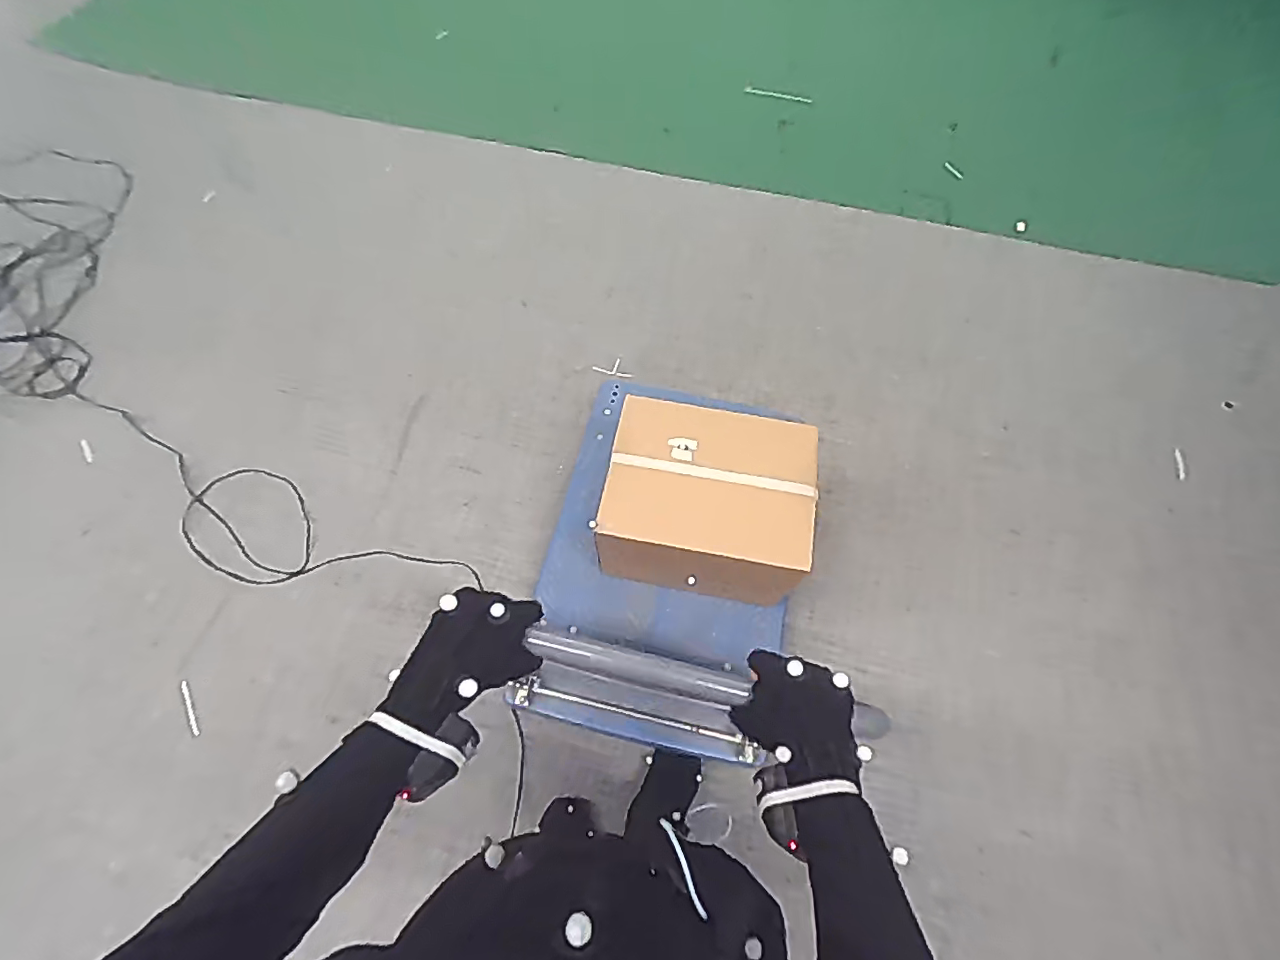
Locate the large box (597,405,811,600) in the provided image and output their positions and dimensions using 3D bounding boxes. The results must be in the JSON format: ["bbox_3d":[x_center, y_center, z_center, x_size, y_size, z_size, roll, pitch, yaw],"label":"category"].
[{"bbox_3d":[0.139,0.064,1.207,0.408,0.320,0.320,9,65,4],"label":"large box"}]
